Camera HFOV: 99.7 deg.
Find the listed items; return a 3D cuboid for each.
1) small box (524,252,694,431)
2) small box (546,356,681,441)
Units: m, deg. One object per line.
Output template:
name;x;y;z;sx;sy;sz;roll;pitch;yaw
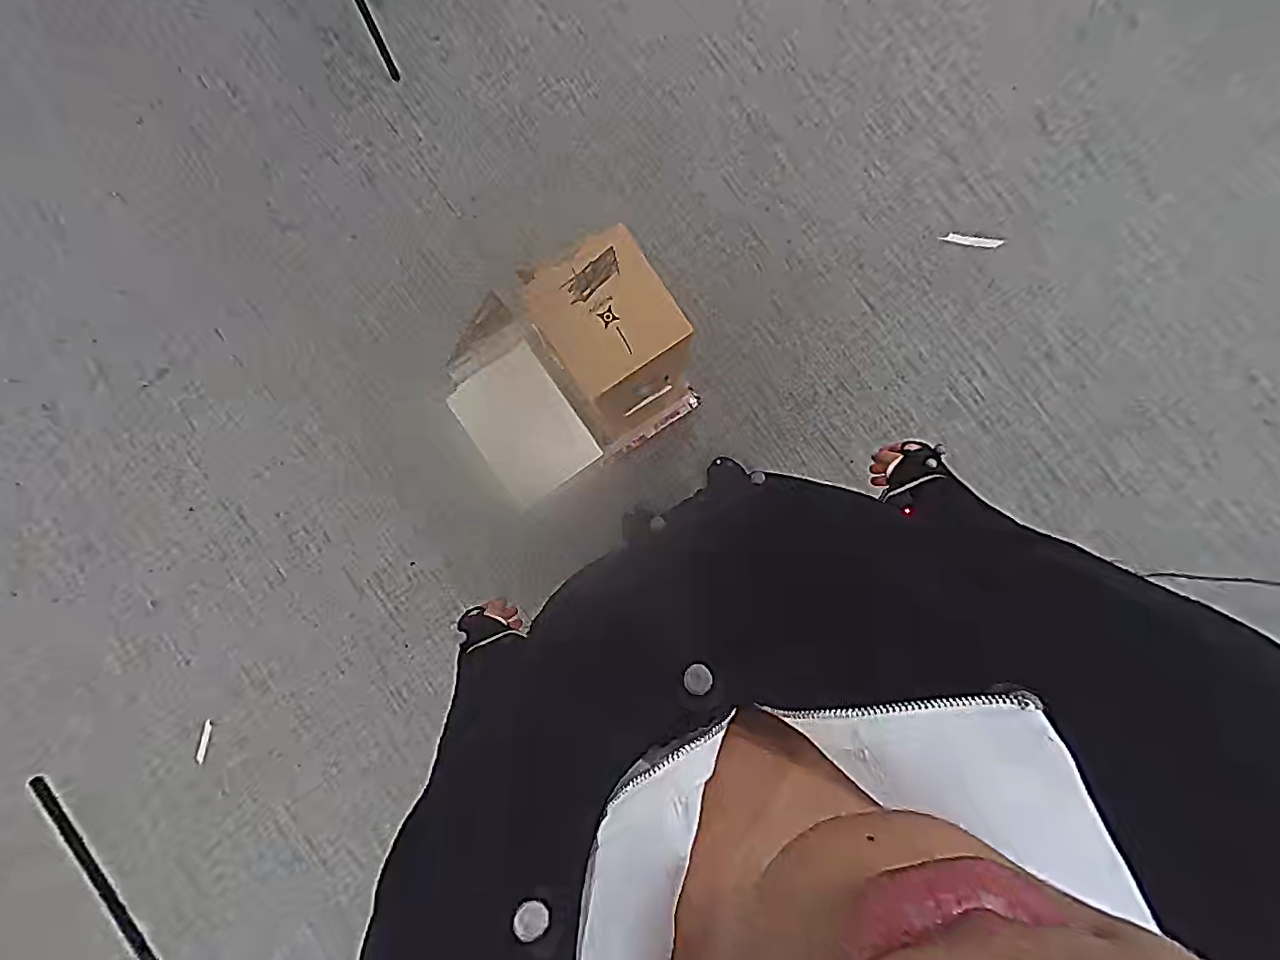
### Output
small box;-0.041;-0.188;0.795;0.168;0.176;0.179;-34;90;2
small box;-0.039;-0.186;0.960;0.179;0.176;0.168;-37;89;2
